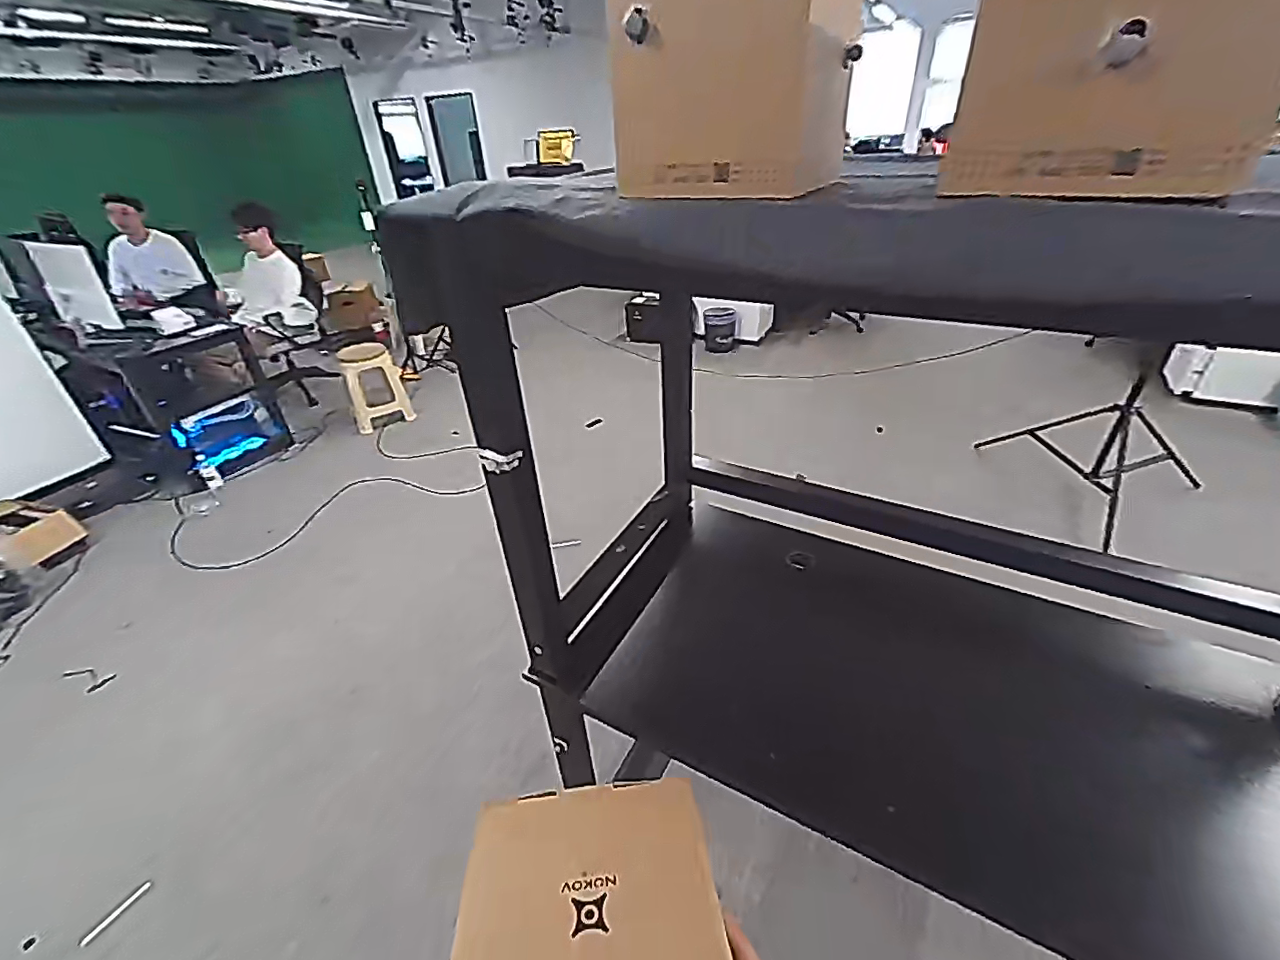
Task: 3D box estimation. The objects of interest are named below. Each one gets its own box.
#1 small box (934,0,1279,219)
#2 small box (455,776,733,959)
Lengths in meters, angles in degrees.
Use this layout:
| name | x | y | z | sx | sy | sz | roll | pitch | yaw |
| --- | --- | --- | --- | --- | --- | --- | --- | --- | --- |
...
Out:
| name | x | y | z | sx | sy | sz | roll | pitch | yaw |
| --- | --- | --- | --- | --- | --- | --- | --- | --- | --- |
| small box | 0.321 | -0.285 | 0.380 | 0.168 | 0.176 | 0.179 | 16 | 36 | 25 |
| small box | -0.029 | 0.347 | 0.372 | 0.168 | 0.176 | 0.179 | -5 | 21 | -7 |
